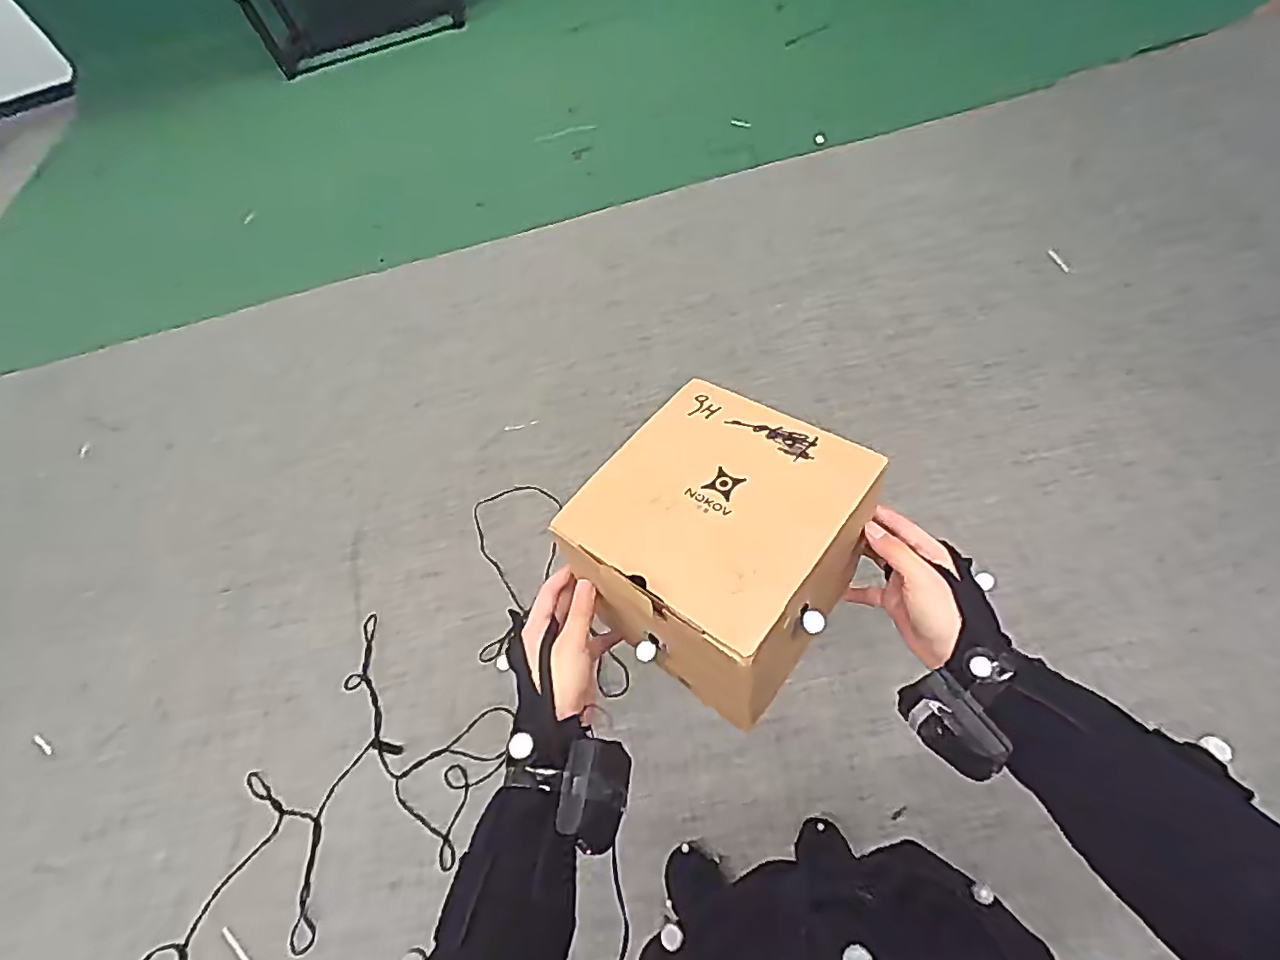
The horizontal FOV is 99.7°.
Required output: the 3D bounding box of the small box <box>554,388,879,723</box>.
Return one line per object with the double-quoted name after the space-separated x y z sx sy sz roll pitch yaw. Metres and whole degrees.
0.066 0.063 0.440 0.168 0.176 0.179 30 64 30 "small box"
